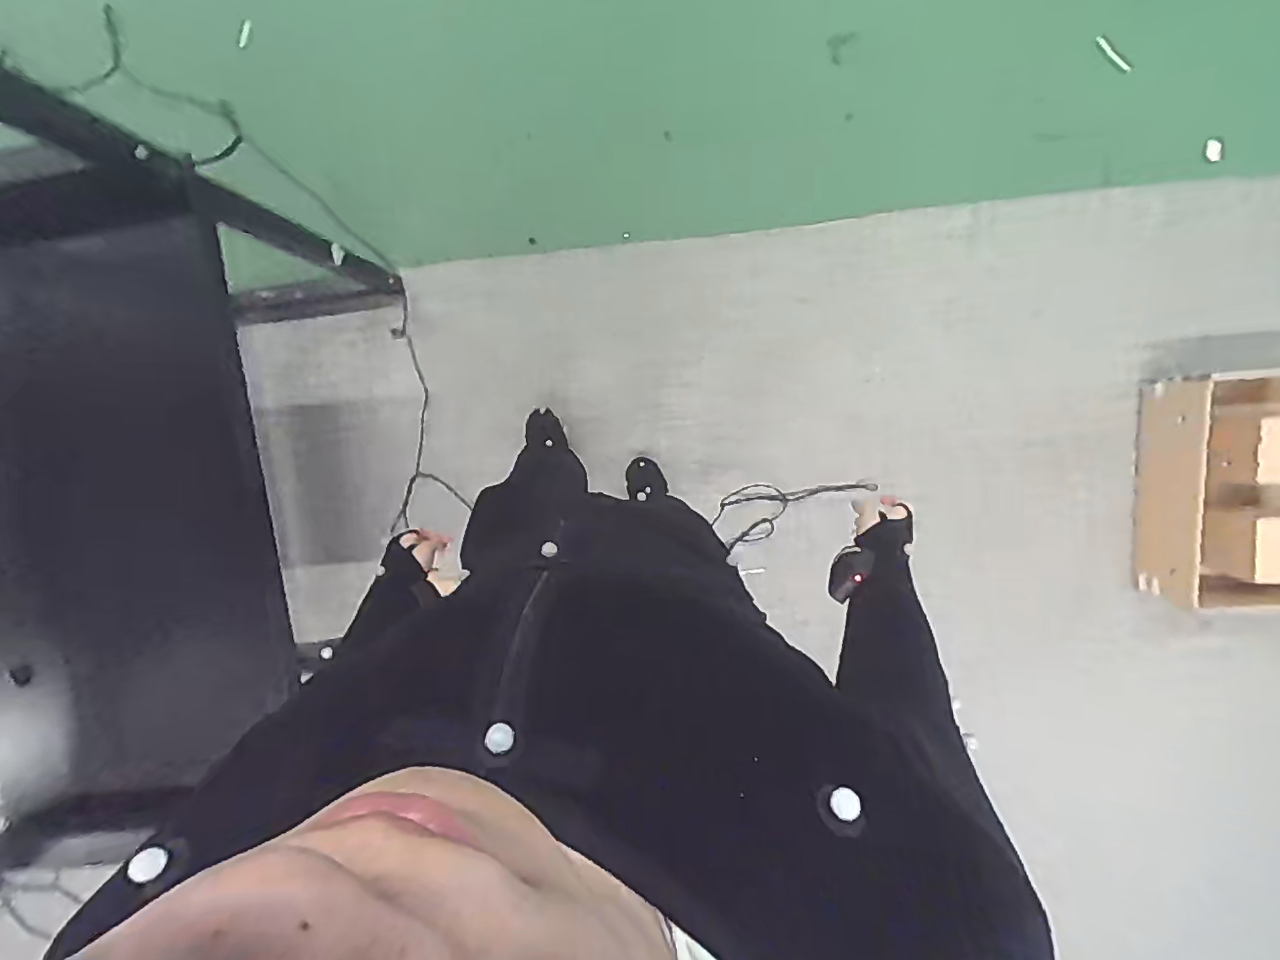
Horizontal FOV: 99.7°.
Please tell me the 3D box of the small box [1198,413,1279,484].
[{"bbox_3d":[1.605,-0.084,1.394,0.179,0.176,0.168,-5,98,3],"label":"small box"}]
